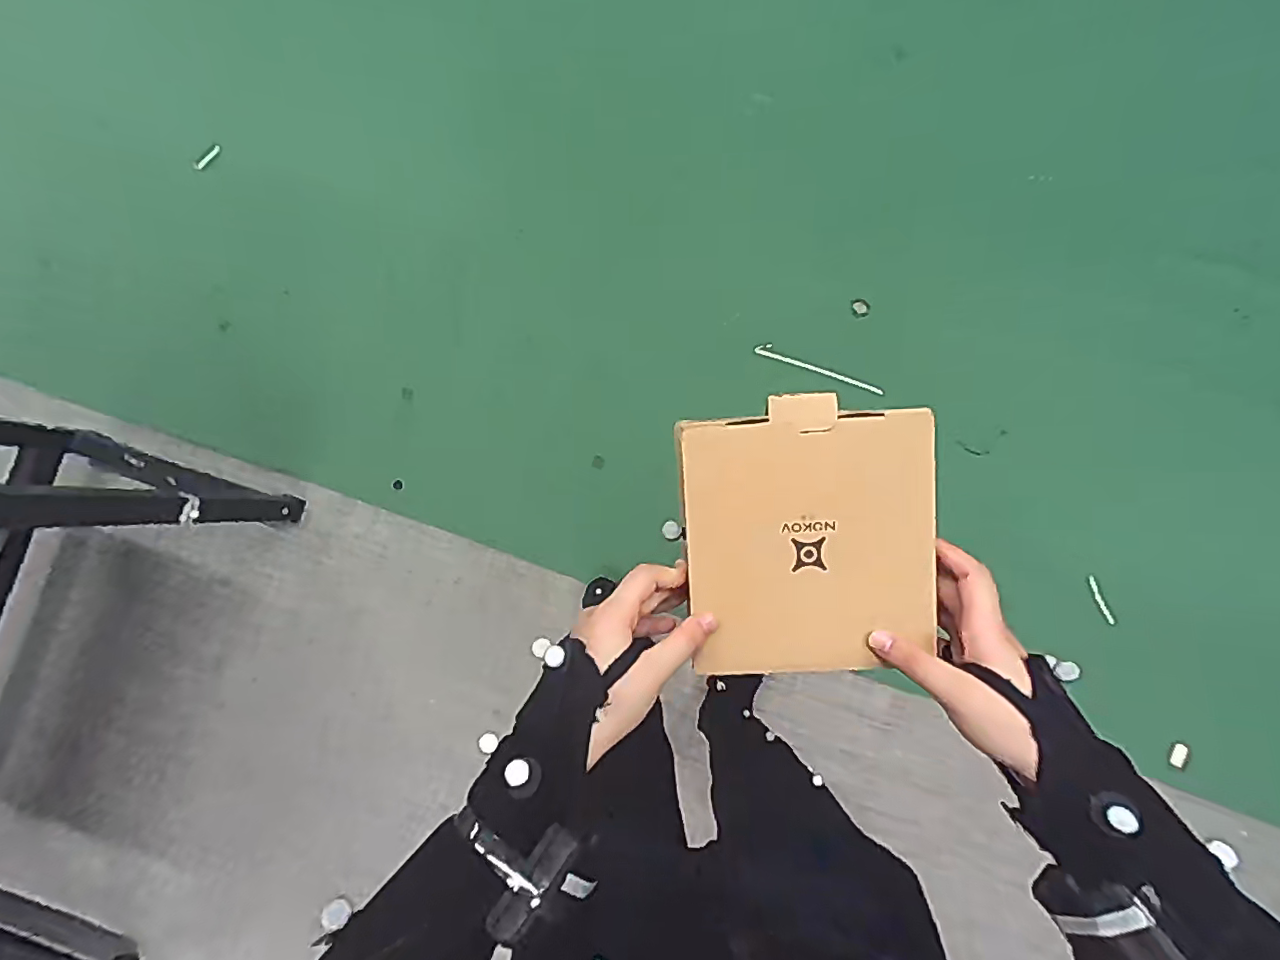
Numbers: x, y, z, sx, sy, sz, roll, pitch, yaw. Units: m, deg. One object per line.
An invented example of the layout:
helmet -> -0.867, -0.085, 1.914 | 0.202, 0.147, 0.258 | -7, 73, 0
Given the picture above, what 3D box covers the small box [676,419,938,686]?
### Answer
small box -> 0.117, 0.043, 0.436 | 0.168, 0.176, 0.179 | -4, 95, 4
